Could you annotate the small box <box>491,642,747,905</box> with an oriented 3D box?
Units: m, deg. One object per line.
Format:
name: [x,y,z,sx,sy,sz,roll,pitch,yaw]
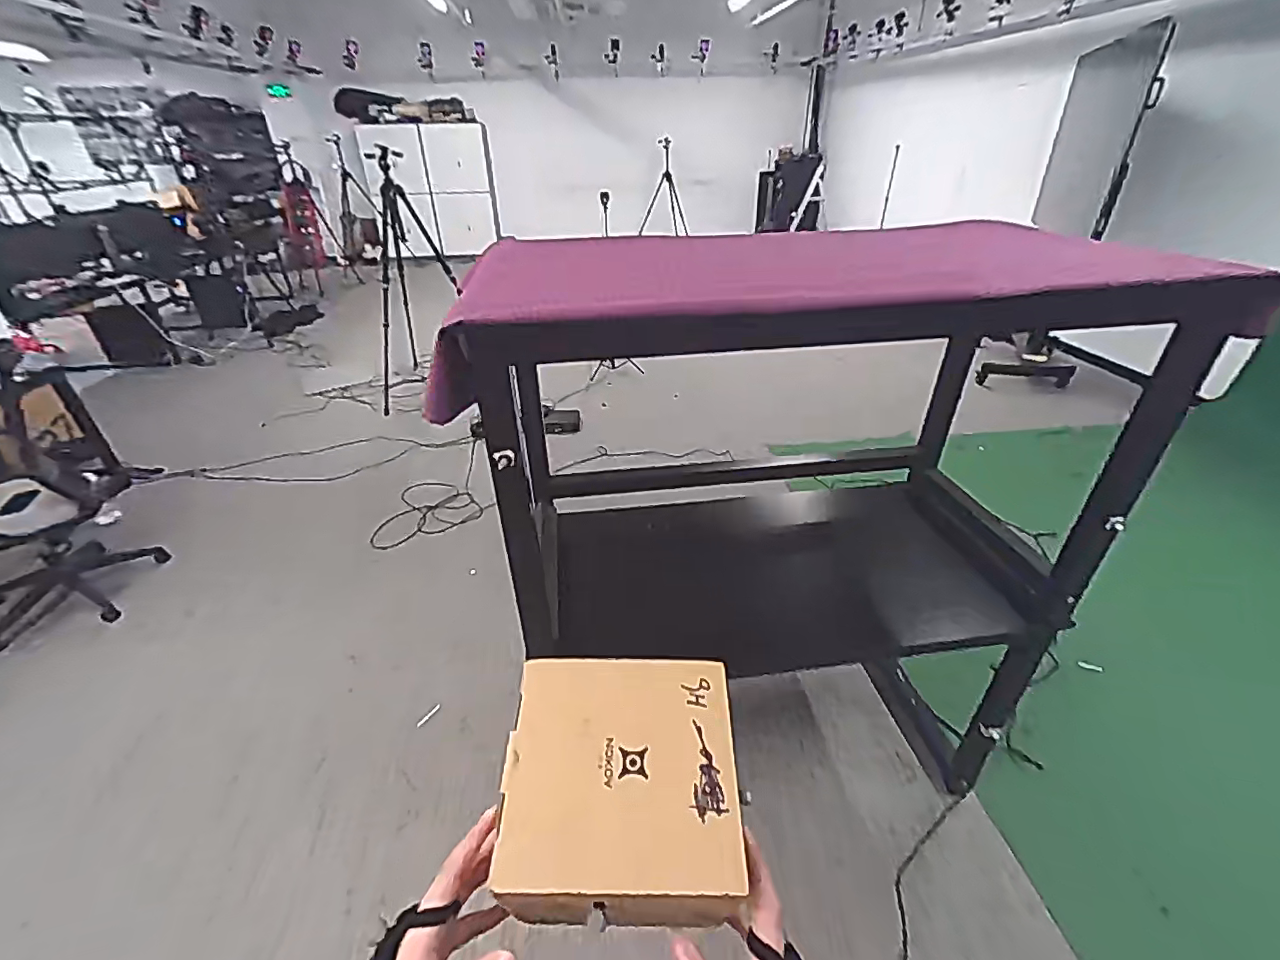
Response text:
small box: [-0.013,0.257,0.472,0.179,0.176,0.168,0,46,0]
